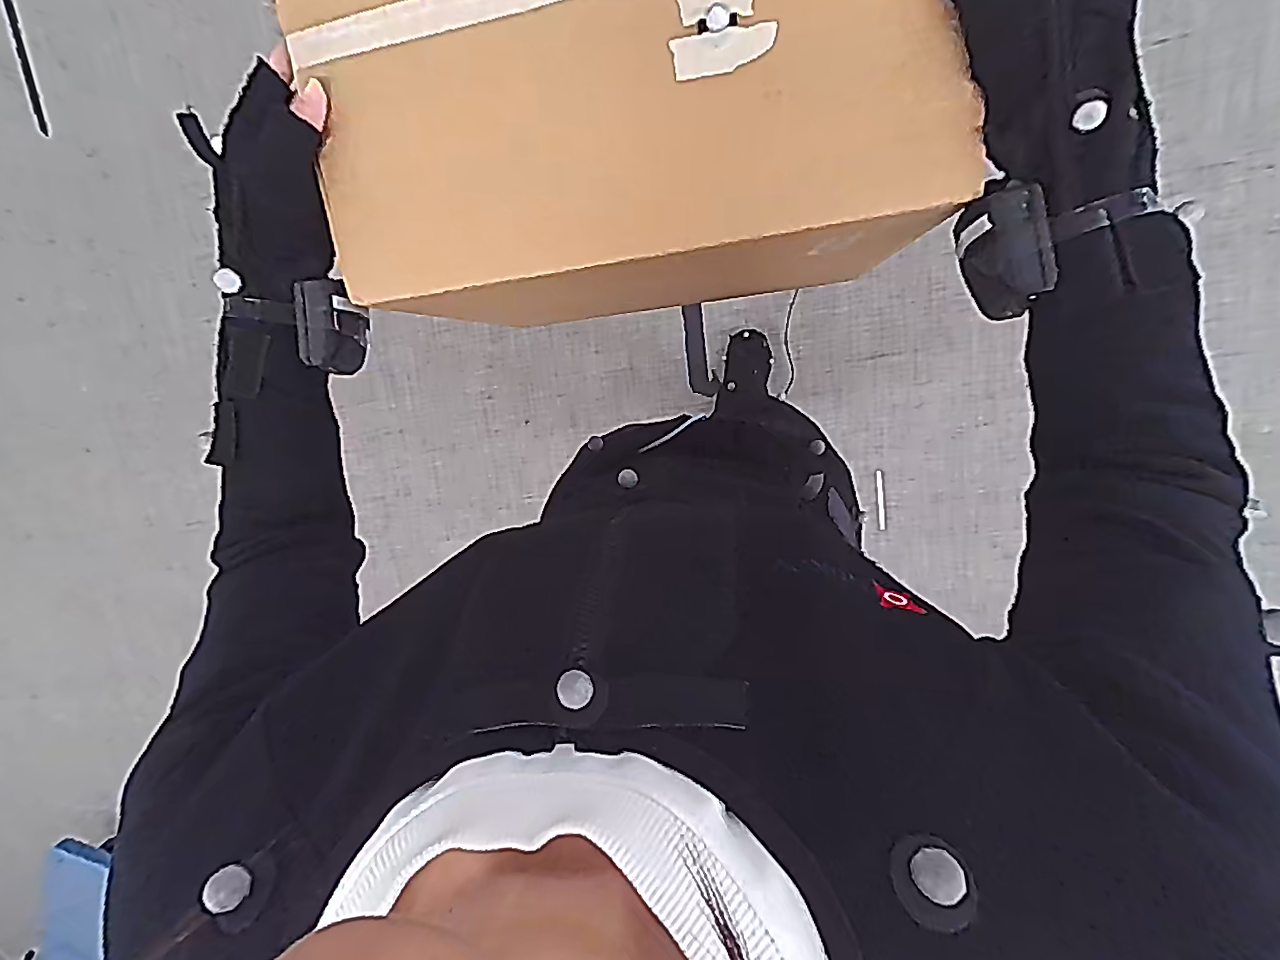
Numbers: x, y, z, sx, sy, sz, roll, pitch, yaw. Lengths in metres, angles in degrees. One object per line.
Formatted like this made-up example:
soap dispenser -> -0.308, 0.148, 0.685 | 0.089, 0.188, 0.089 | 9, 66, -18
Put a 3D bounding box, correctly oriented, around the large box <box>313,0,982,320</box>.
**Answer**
large box -> 0.005, -0.336, 0.465 | 0.408, 0.320, 0.320 | -6, 102, 10
